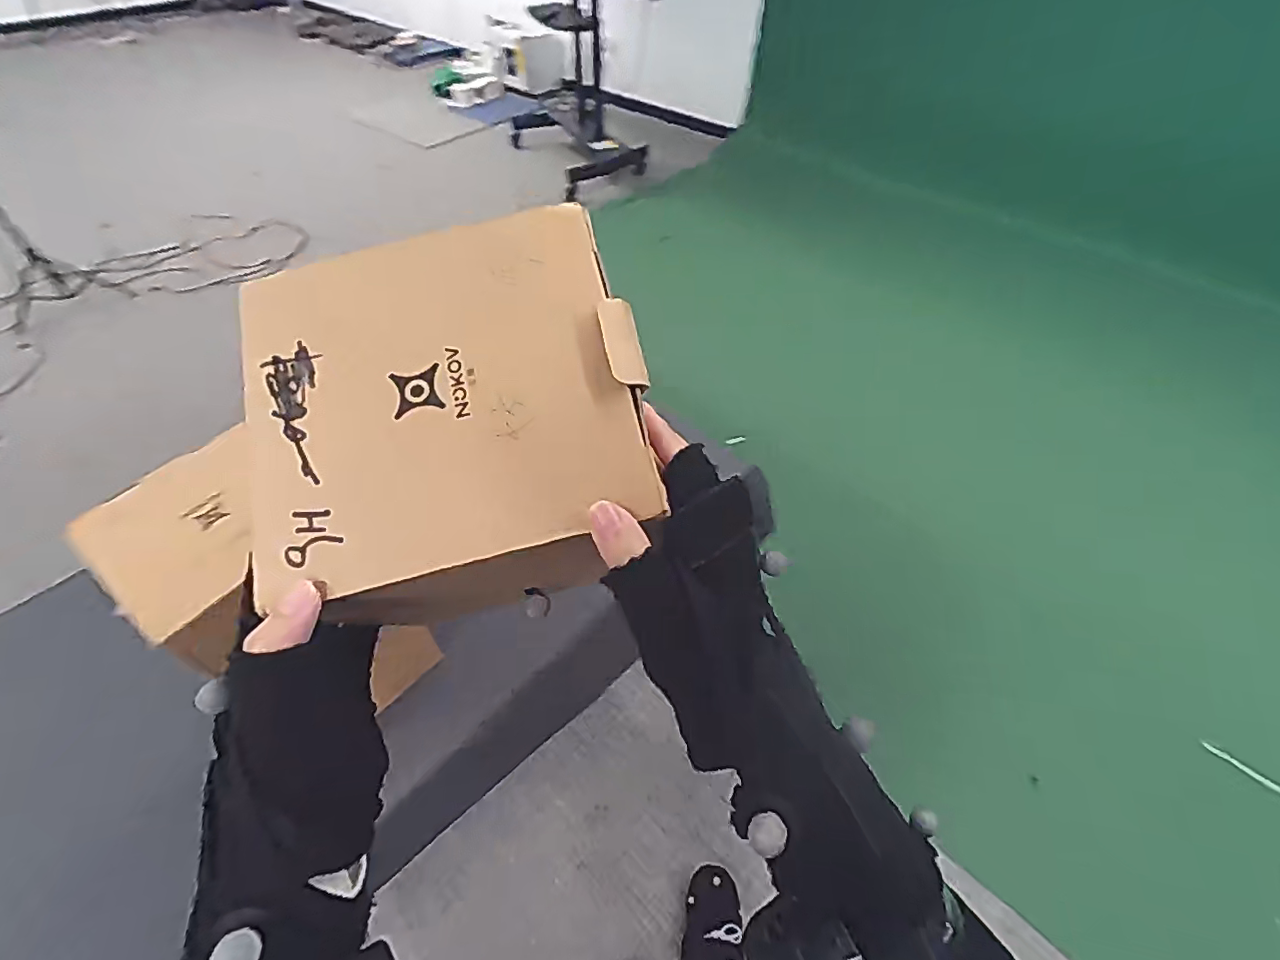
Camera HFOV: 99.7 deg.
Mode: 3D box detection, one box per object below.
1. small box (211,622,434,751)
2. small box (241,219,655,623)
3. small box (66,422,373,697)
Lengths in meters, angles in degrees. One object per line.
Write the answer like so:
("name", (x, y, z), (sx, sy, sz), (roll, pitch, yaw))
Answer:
("small box", (-0.383, 0.188, 0.651), (0.168, 0.176, 0.179), (34, 57, 25))
("small box", (-0.092, -0.015, 0.324), (0.179, 0.176, 0.168), (-13, 73, -1))
("small box", (-0.373, 0.081, 0.529), (0.179, 0.176, 0.168), (30, 58, 22))
